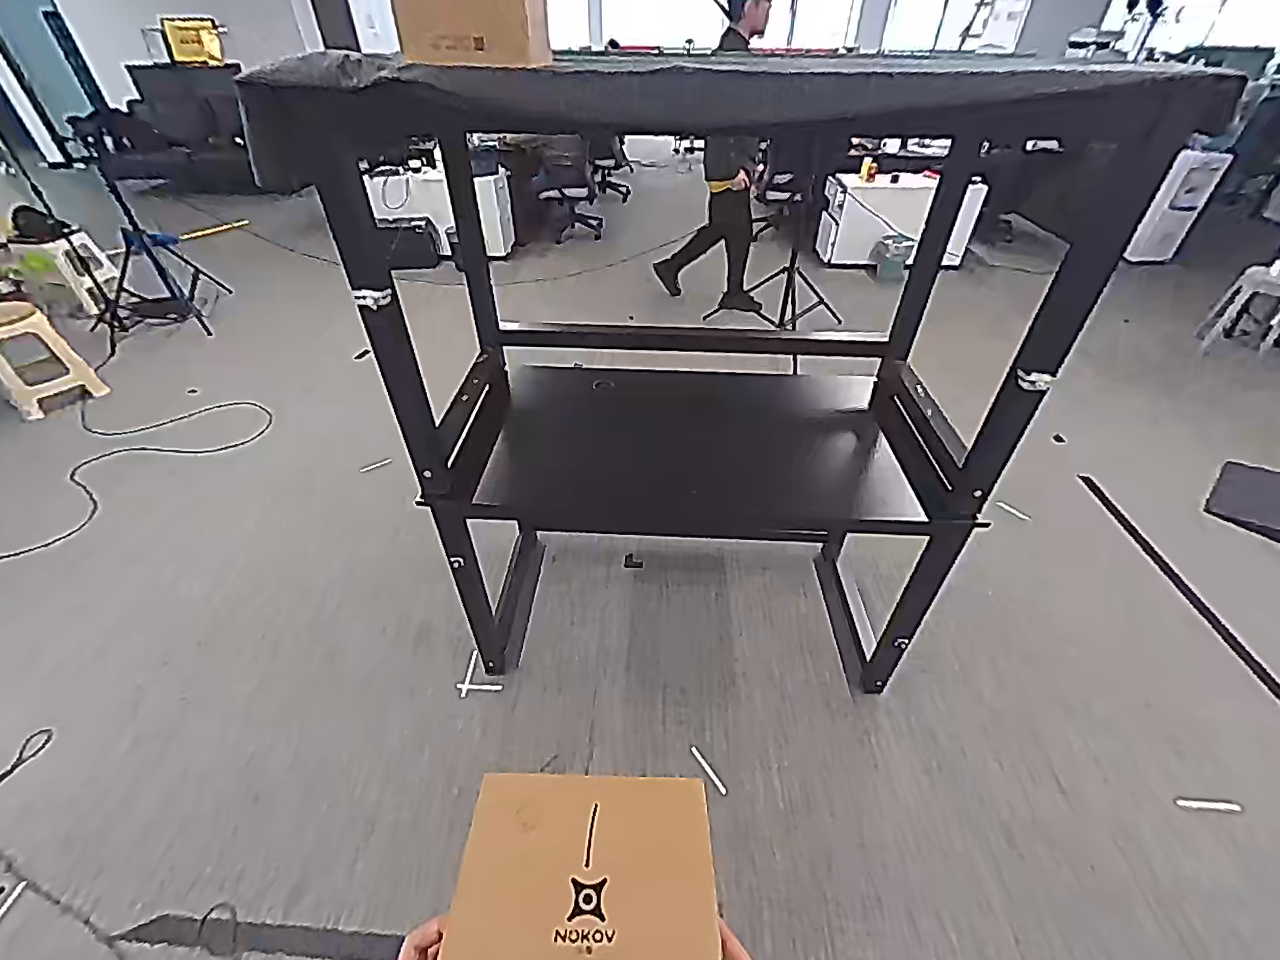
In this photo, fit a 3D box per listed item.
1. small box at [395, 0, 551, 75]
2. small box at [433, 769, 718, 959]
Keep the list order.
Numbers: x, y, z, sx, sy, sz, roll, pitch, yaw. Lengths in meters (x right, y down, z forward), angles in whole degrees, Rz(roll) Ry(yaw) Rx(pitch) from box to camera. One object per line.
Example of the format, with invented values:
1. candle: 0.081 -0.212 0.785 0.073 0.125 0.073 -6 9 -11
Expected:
1. small box: -0.215 -0.640 0.710 0.168 0.176 0.179 2 38 1
2. small box: -0.038 0.330 0.369 0.168 0.176 0.179 3 30 -1
